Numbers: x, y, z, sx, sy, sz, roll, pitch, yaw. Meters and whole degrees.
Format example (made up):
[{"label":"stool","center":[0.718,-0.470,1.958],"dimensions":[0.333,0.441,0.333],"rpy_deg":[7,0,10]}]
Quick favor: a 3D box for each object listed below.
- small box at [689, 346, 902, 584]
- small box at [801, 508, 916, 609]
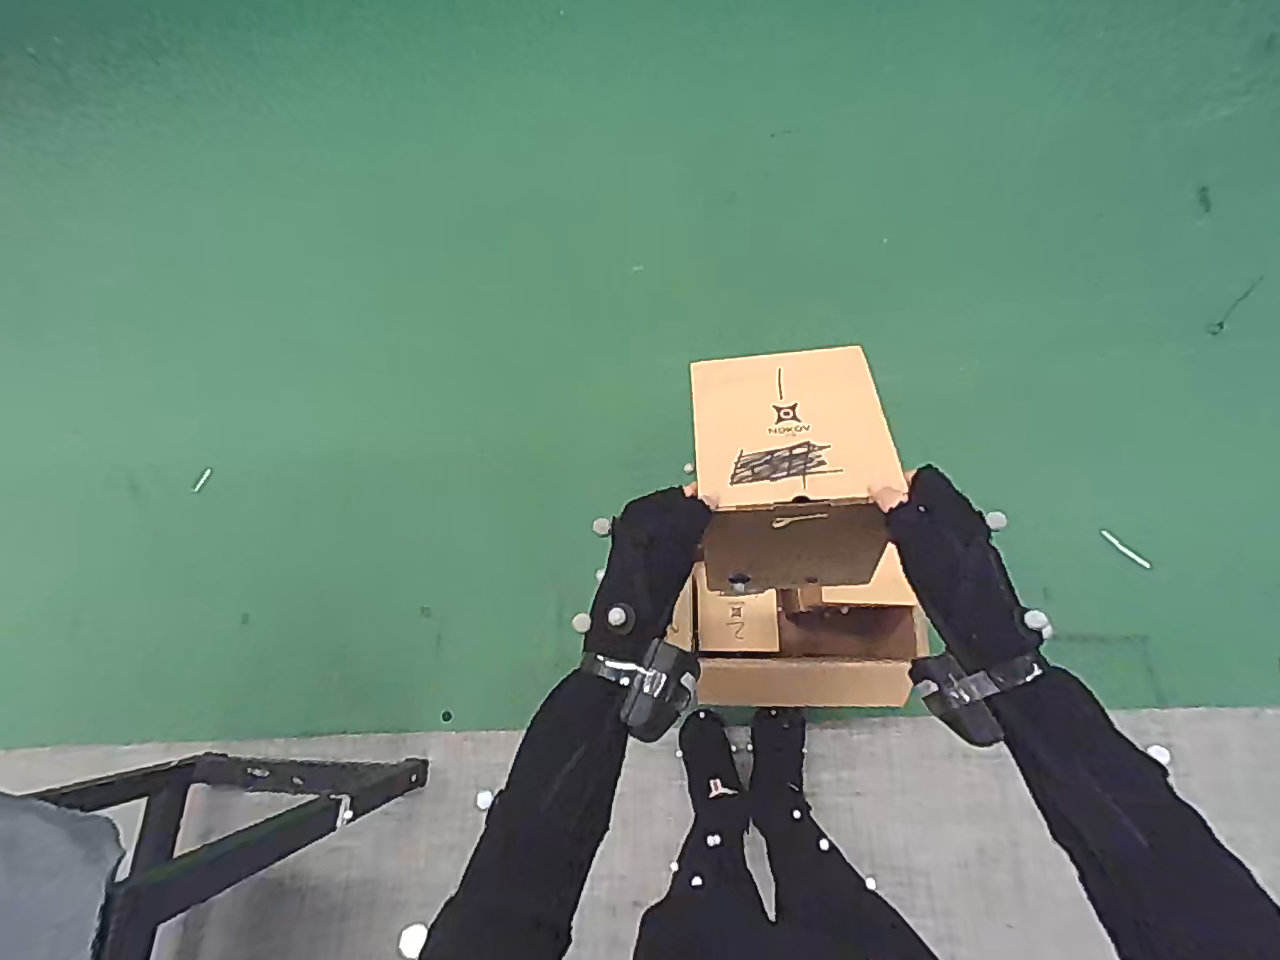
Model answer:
[{"label":"small box","center":[0.139,-0.005,0.540],"dimensions":[0.168,0.176,0.179],"rpy_deg":[-4,54,7]},{"label":"small box","center":[0.408,0.155,1.041],"dimensions":[0.168,0.176,0.179],"rpy_deg":[1,74,5]}]
